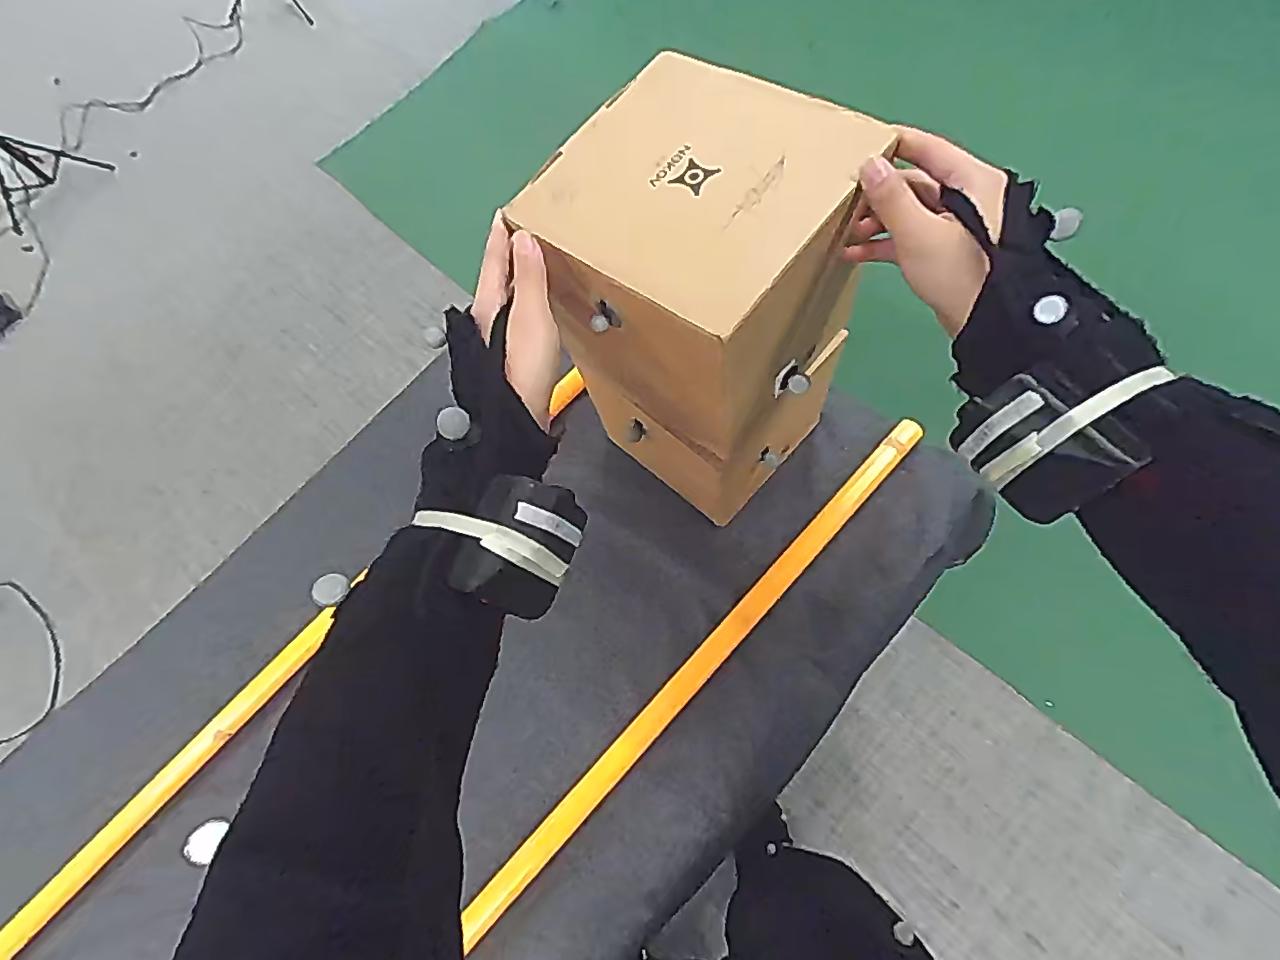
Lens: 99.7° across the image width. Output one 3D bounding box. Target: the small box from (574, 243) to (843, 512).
[{"bbox_3d":[0.069,-0.087,0.541,0.179,0.176,0.168,40,80,22],"label":"small box"}]
